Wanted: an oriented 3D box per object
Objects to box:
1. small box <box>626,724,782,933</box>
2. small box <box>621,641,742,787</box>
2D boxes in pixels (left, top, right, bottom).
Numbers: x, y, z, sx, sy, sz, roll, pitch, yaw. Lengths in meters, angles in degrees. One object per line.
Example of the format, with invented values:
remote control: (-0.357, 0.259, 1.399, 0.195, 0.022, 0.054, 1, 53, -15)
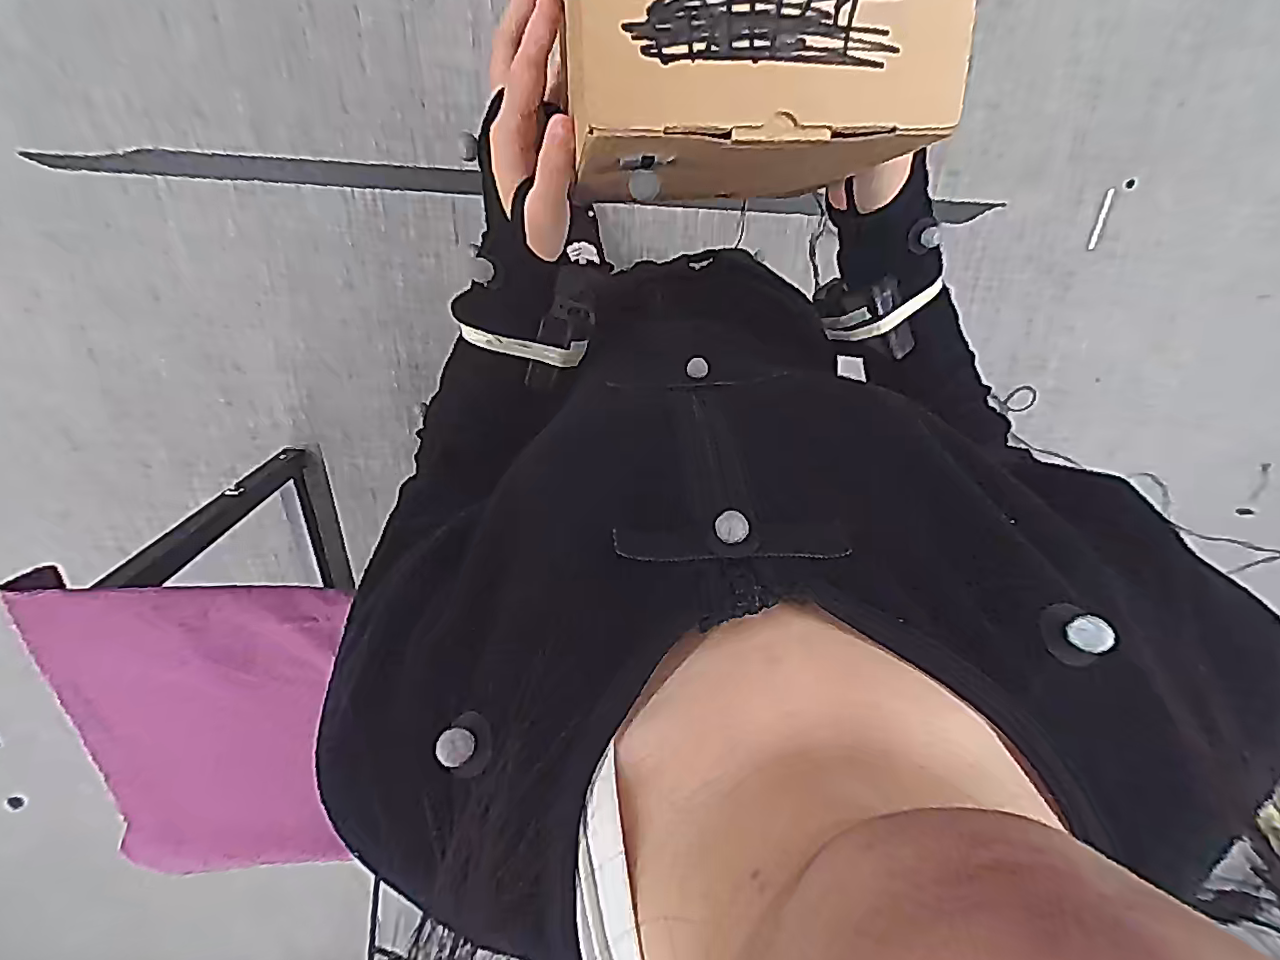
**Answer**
small box: (0.072, 0.452, 0.718, 0.179, 0.176, 0.168, -4, 117, -4)
small box: (0.057, 0.383, 0.864, 0.168, 0.176, 0.179, -3, 115, -4)
